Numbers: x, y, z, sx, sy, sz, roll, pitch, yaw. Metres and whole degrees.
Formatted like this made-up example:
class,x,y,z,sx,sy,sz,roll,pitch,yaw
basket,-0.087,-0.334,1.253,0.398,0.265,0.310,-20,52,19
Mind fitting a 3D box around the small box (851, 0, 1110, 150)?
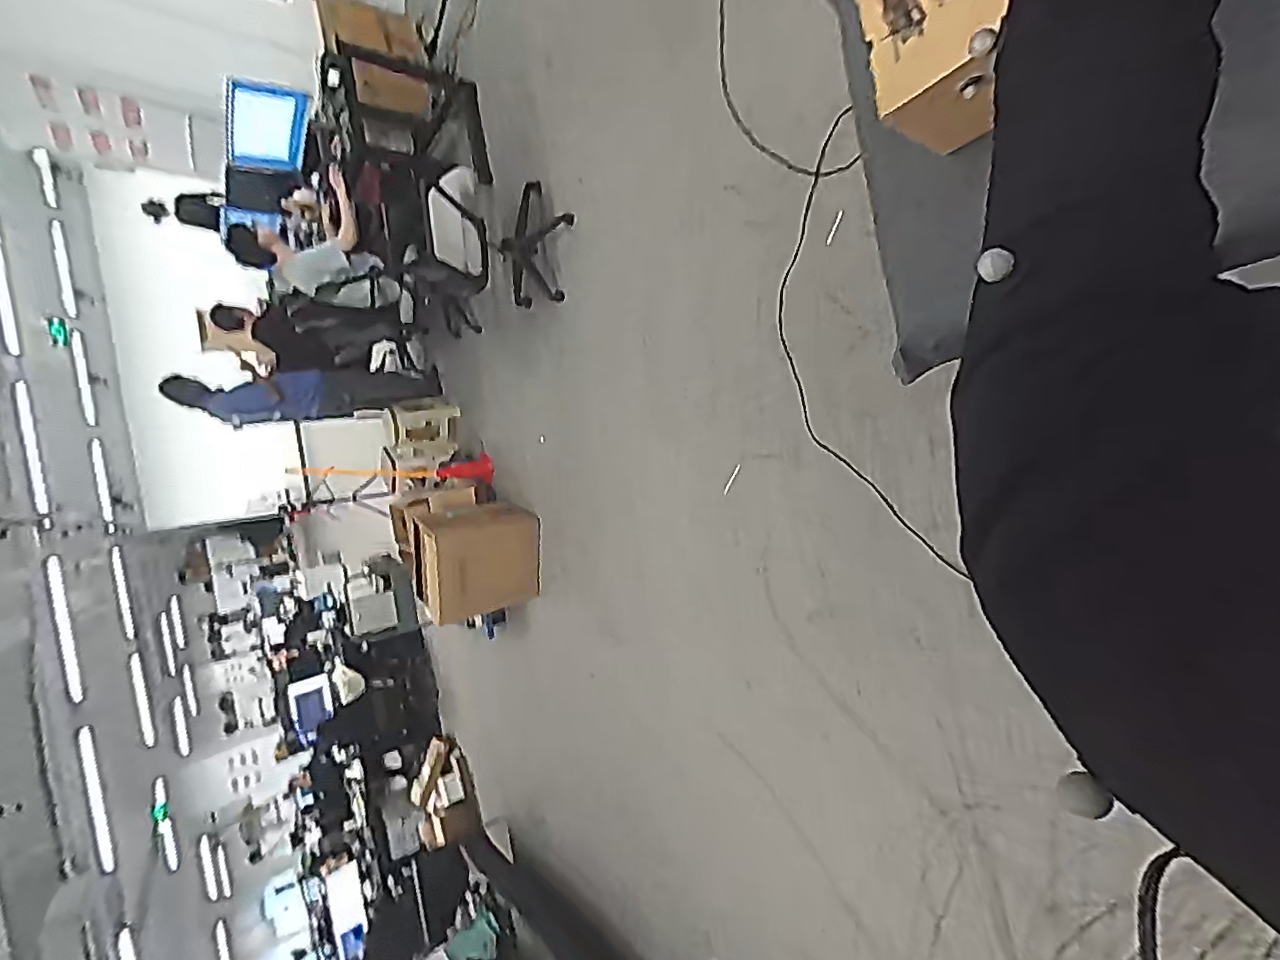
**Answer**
class,x,y,z,sx,sy,sz,roll,pitch,yaw
small box,0.359,-0.492,0.577,0.179,0.176,0.168,-13,88,51
